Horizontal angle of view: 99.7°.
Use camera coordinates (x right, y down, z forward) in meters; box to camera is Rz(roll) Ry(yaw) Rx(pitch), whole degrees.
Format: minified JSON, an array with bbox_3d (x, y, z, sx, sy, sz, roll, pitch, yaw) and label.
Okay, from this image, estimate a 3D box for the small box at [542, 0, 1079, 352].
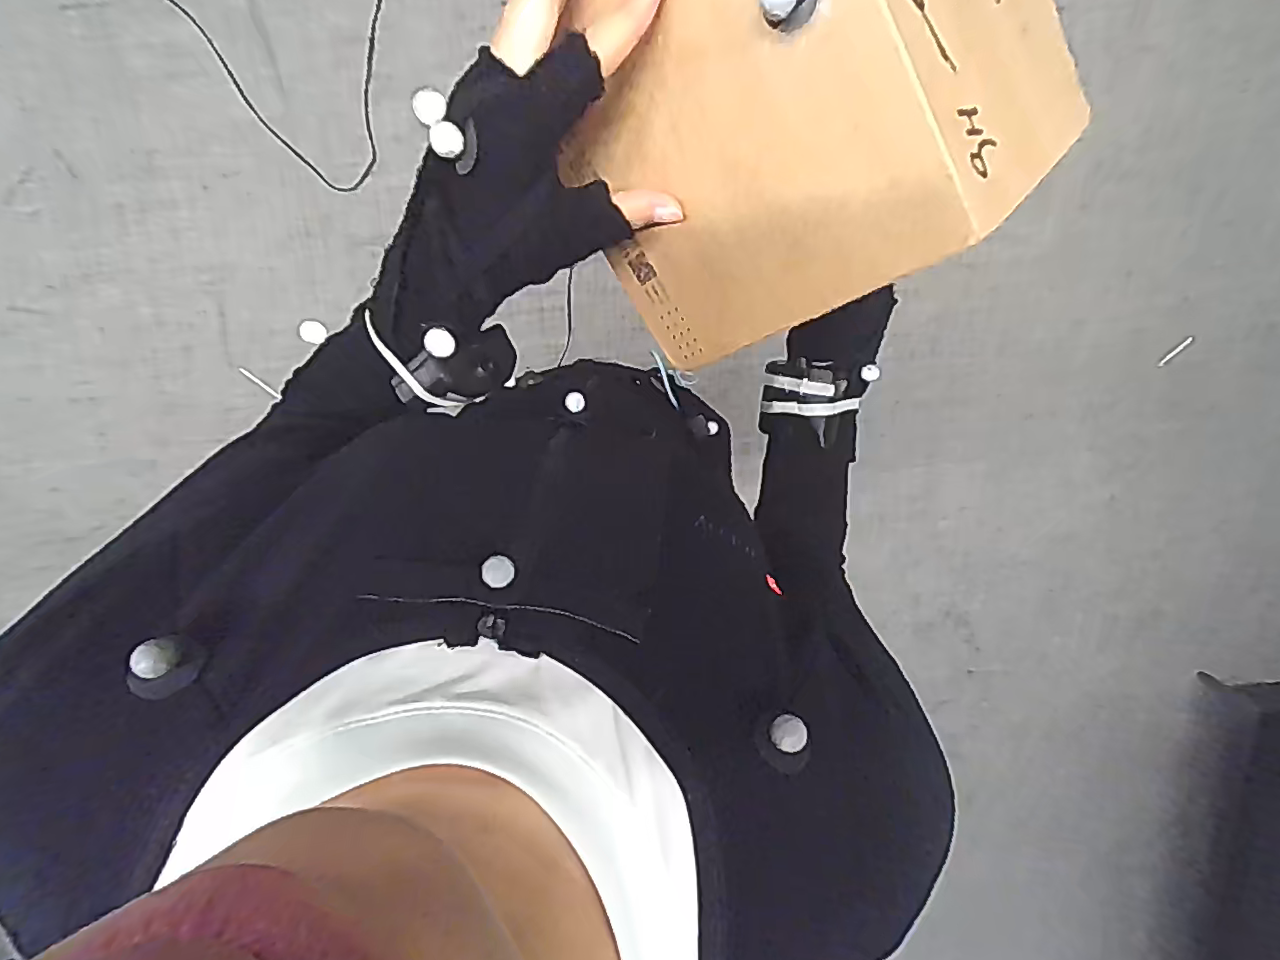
[{"bbox_3d":[0.083,-0.193,0.279,0.179,0.176,0.168,-42,106,-31],"label":"small box"}]
